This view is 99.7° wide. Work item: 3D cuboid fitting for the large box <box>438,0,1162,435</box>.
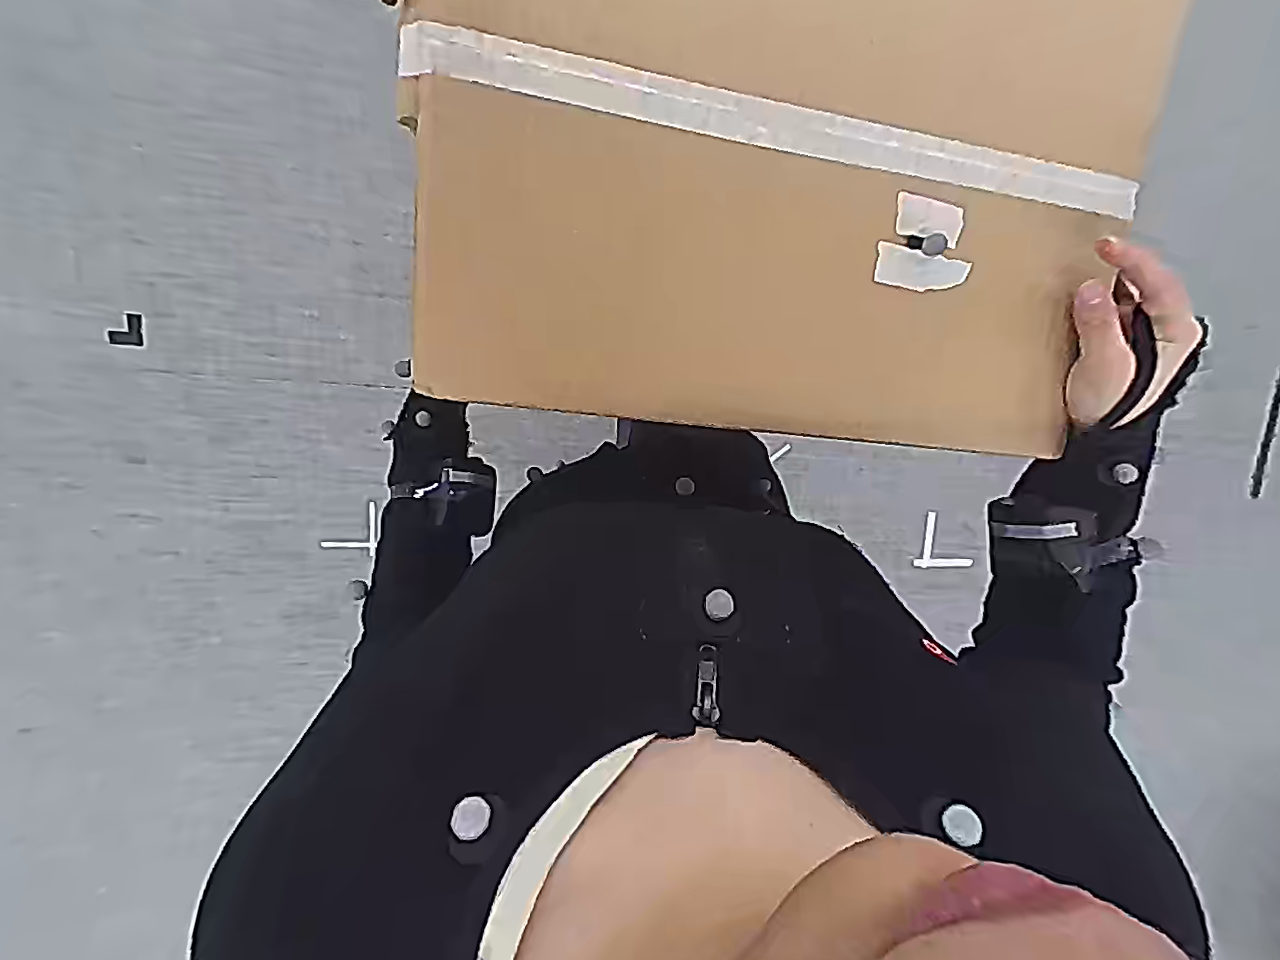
[{"bbox_3d":[0.069,-0.221,0.437,0.408,0.320,0.320,4,103,-13],"label":"large box"}]
